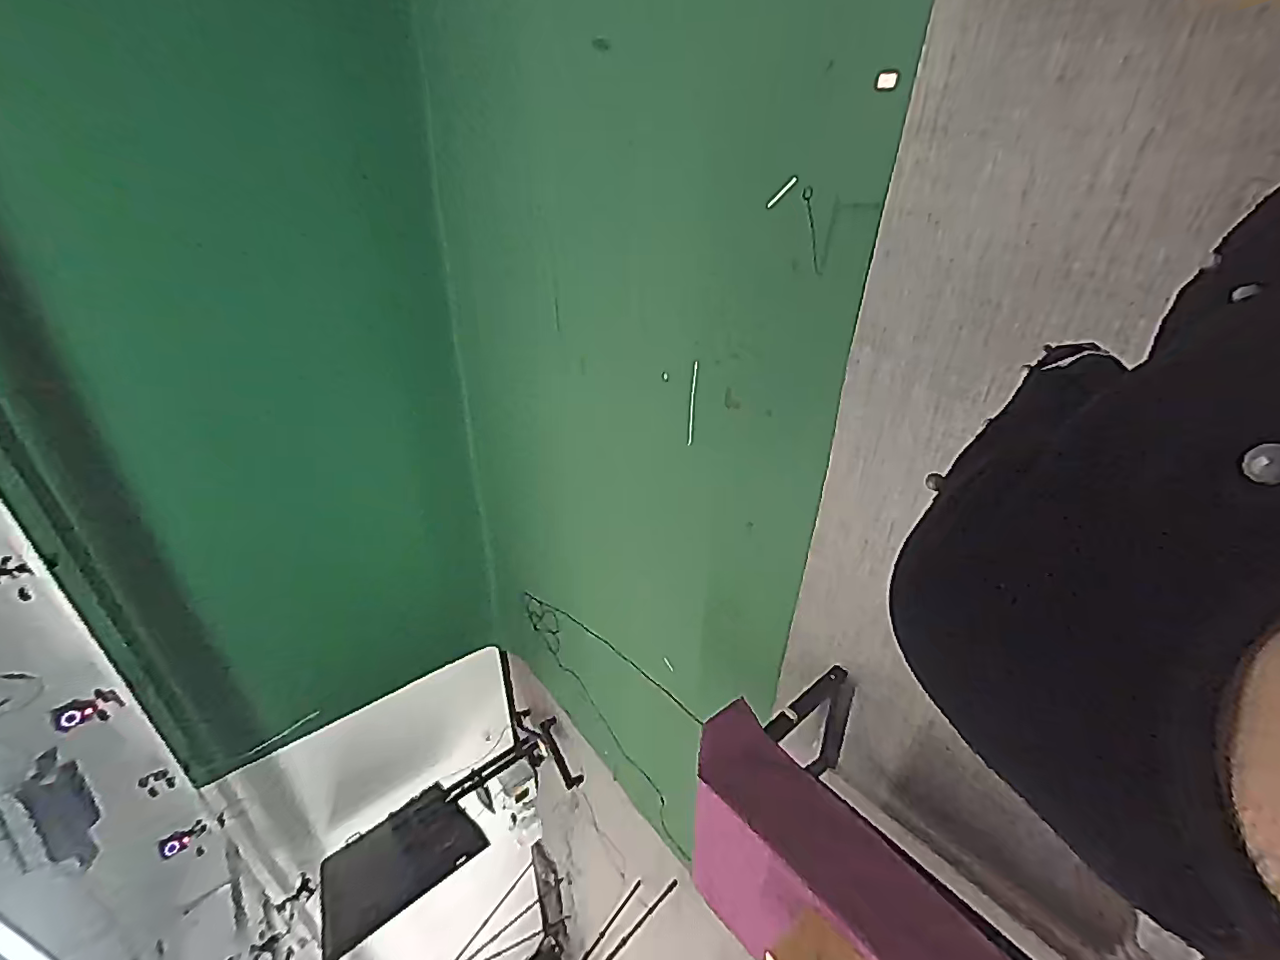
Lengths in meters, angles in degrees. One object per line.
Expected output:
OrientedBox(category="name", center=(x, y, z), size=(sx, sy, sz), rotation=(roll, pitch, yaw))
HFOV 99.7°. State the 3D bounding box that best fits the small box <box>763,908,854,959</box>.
OrientedBox(category="small box", center=(0.417, 1.219, 1.324), size=(0.179, 0.176, 0.168), rotation=(27, 128, 44))
